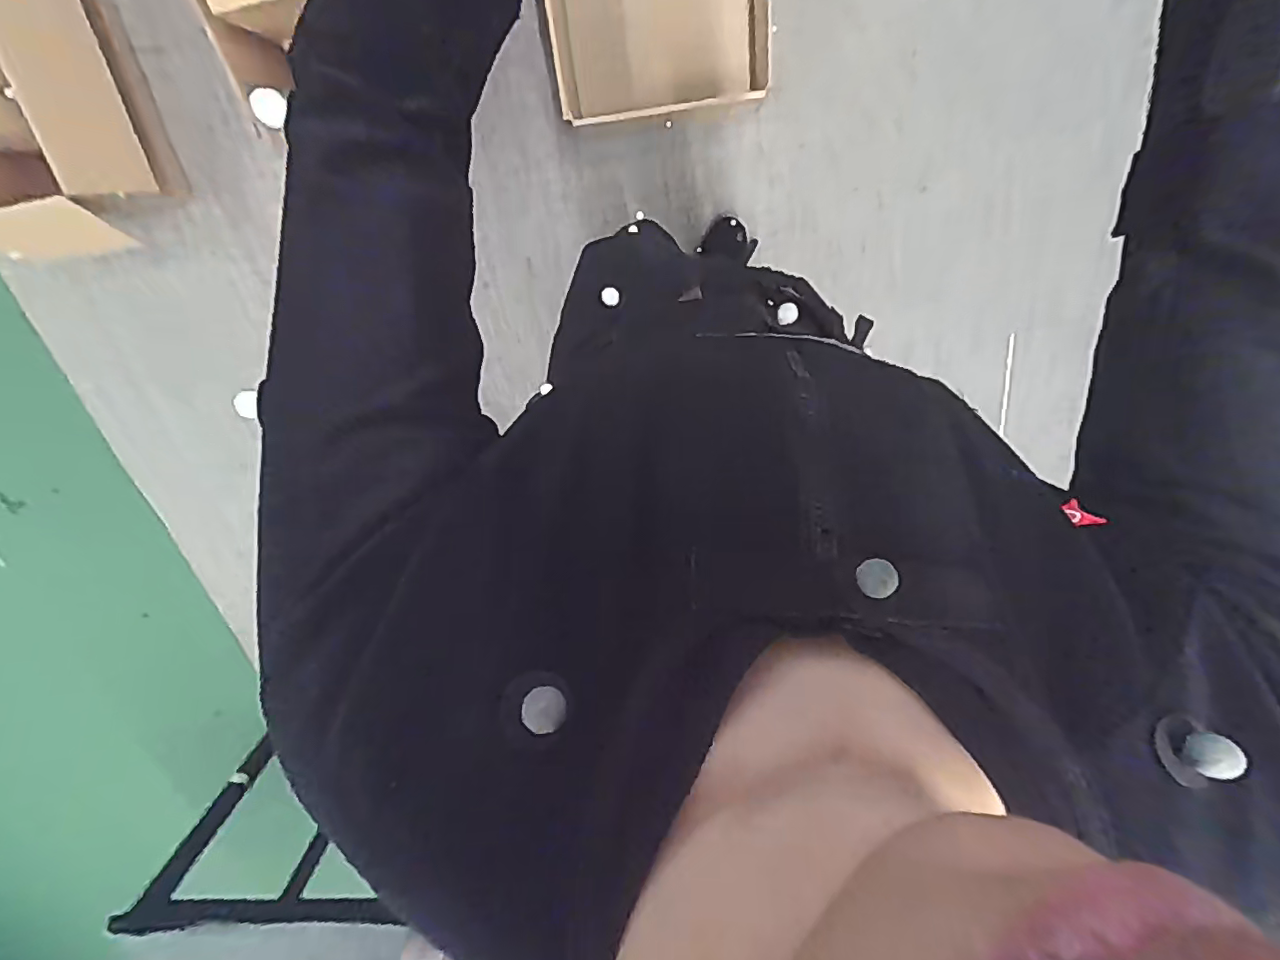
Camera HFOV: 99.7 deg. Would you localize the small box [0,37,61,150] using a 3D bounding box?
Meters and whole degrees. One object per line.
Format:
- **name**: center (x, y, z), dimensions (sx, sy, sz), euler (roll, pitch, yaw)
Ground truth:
- **small box**: center (-1.237, -0.715, 0.988), dimensions (0.179, 0.176, 0.168), euler (-4, 114, 4)
